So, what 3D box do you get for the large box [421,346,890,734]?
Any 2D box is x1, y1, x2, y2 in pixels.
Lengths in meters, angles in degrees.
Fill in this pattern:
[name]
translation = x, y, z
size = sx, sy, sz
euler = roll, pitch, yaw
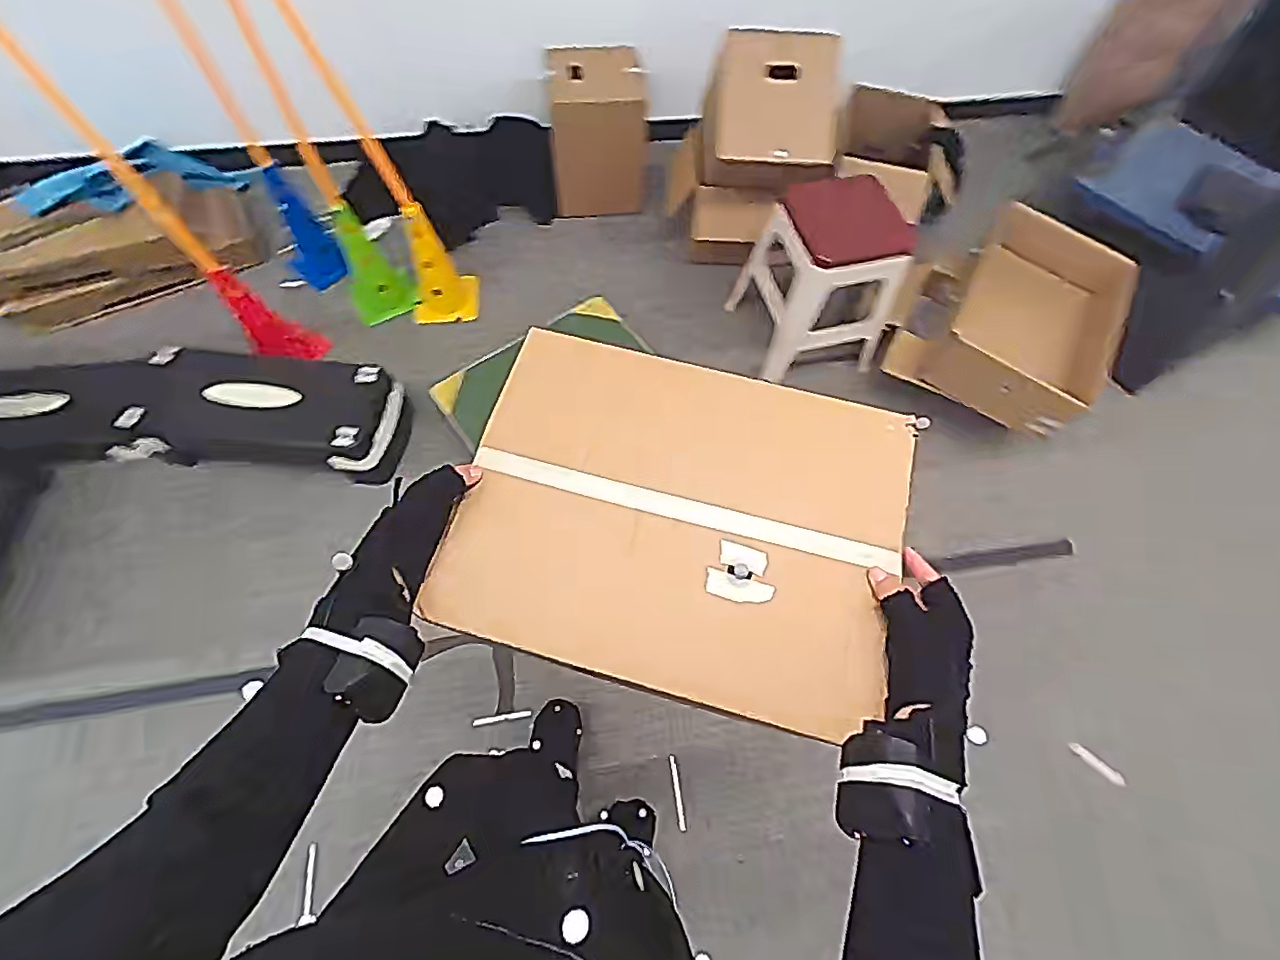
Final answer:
[large box]
translation = 0.027, 0.088, 0.655
size = 0.408, 0.320, 0.320
euler = 14, 69, 4
